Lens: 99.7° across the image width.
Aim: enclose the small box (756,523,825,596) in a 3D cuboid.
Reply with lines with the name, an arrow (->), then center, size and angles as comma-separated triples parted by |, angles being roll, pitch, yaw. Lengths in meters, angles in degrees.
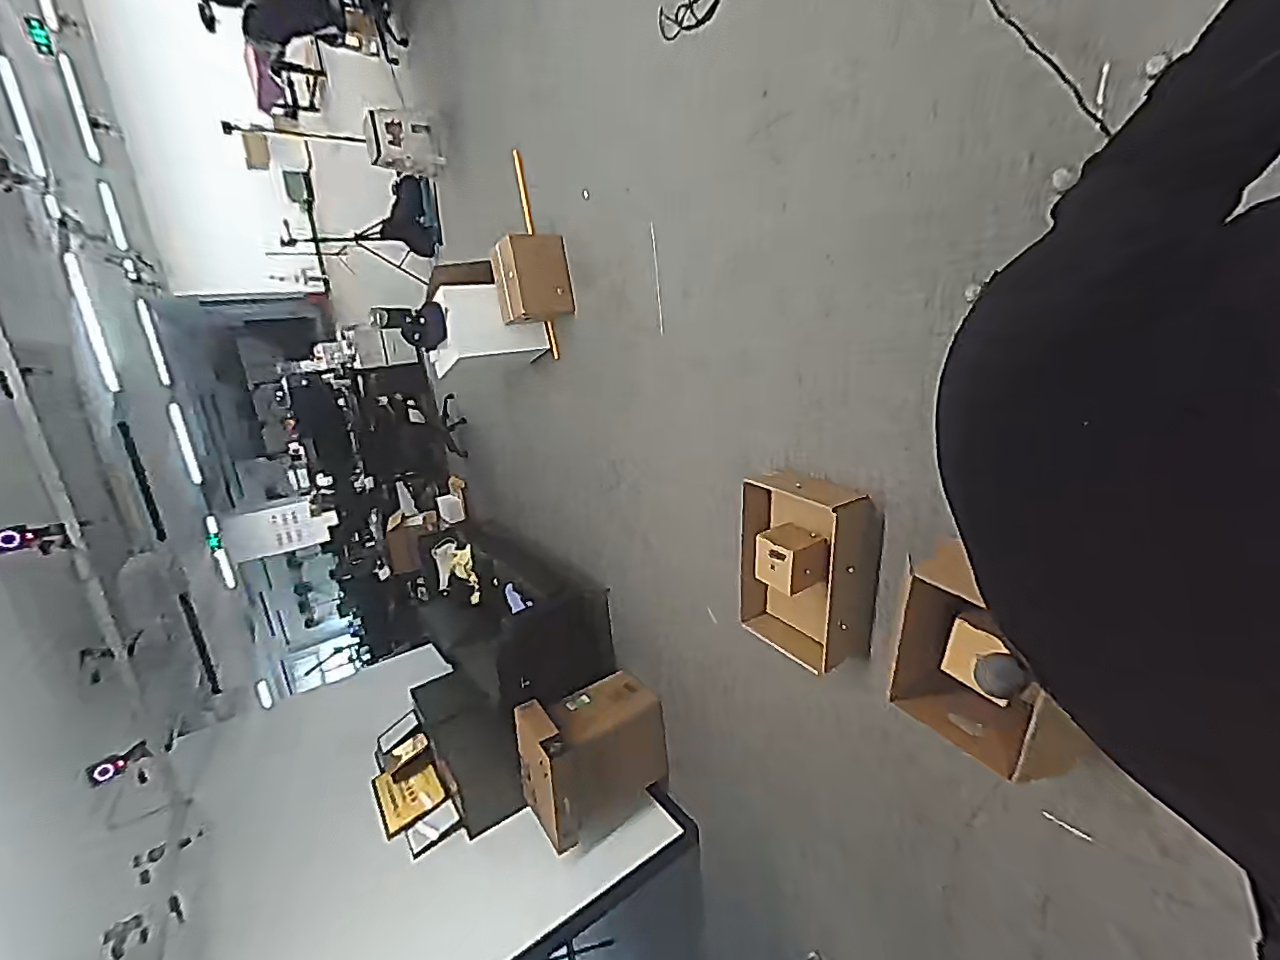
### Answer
small box -> 0.528, 0.269, 1.893 | 0.168, 0.176, 0.179 | 27, 126, 51
